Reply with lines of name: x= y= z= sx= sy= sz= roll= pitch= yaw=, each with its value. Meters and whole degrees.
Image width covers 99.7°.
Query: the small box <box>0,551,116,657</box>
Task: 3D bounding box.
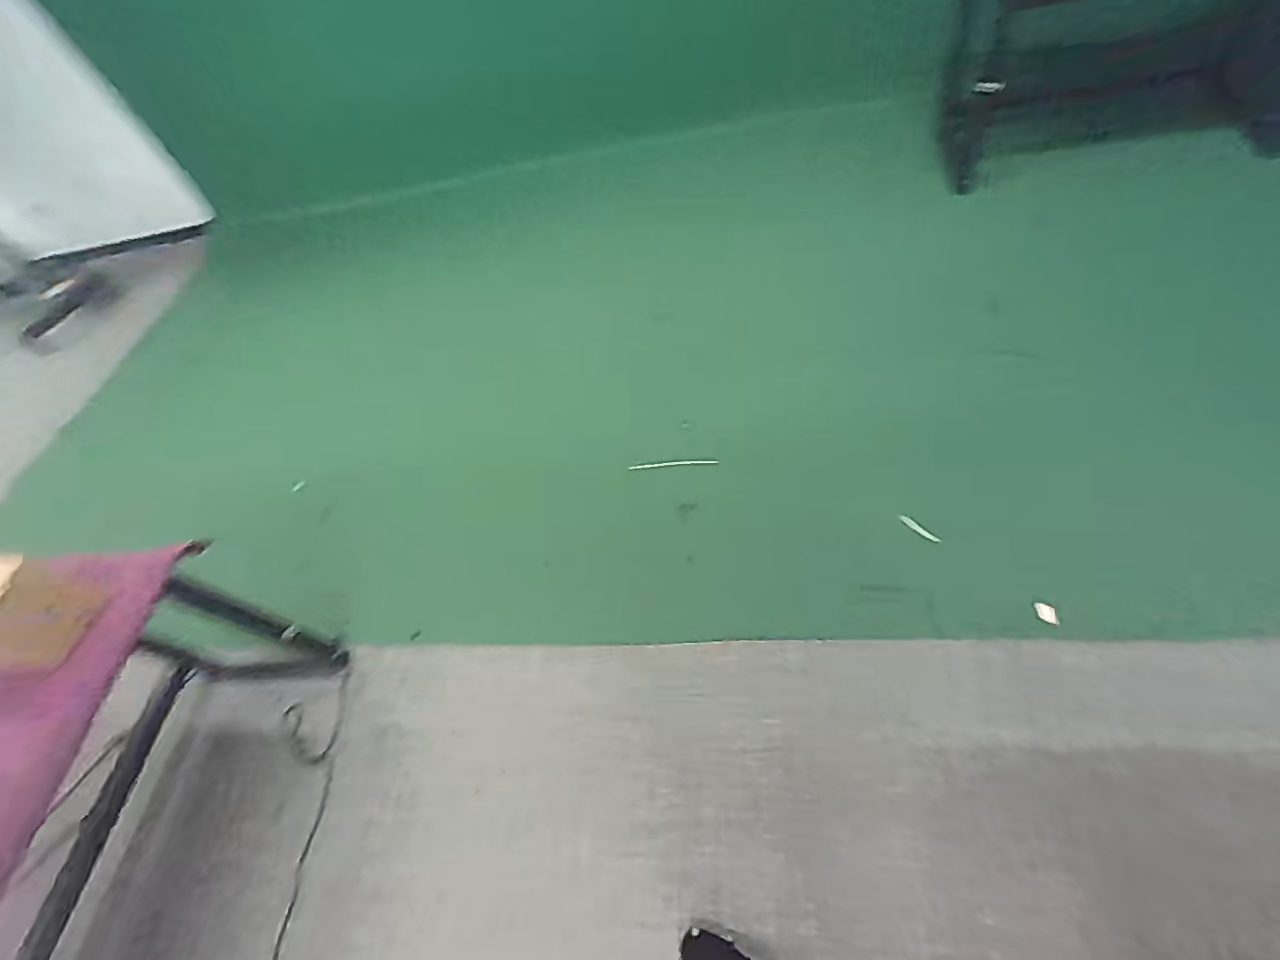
small box: x=-1.248 y=0.254 z=1.099 sx=0.179 sy=0.176 sz=0.168 roll=-1 pitch=57 yaw=16
